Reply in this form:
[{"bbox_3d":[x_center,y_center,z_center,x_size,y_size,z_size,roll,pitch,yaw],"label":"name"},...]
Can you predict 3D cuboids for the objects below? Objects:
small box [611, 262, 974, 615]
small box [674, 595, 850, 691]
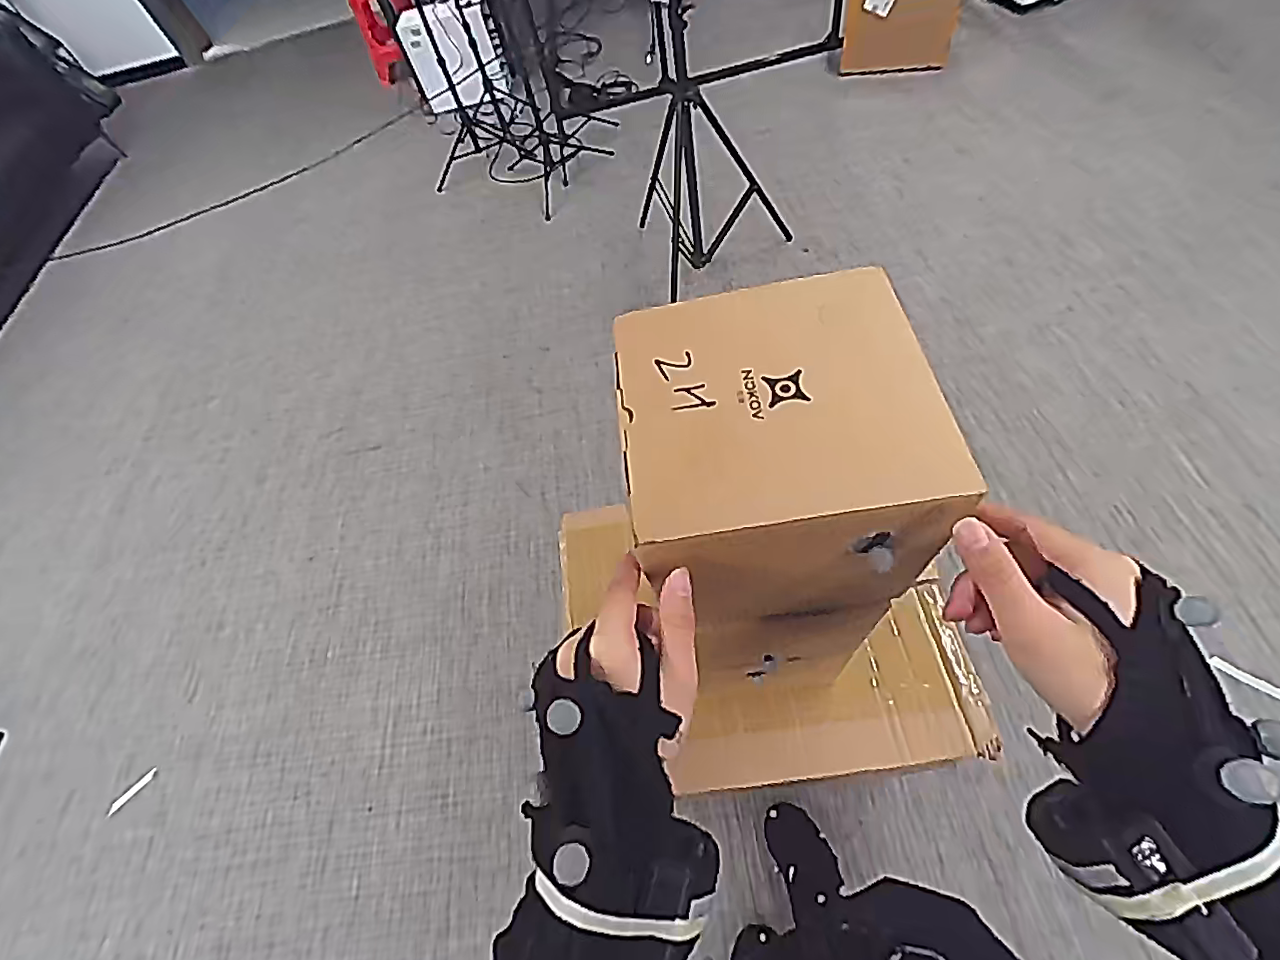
[{"bbox_3d":[0.085,-0.016,0.378,0.179,0.176,0.168,-10,59,6],"label":"small box"},{"bbox_3d":[0.135,0.151,0.658,0.179,0.176,0.168,-9,59,6],"label":"small box"}]
